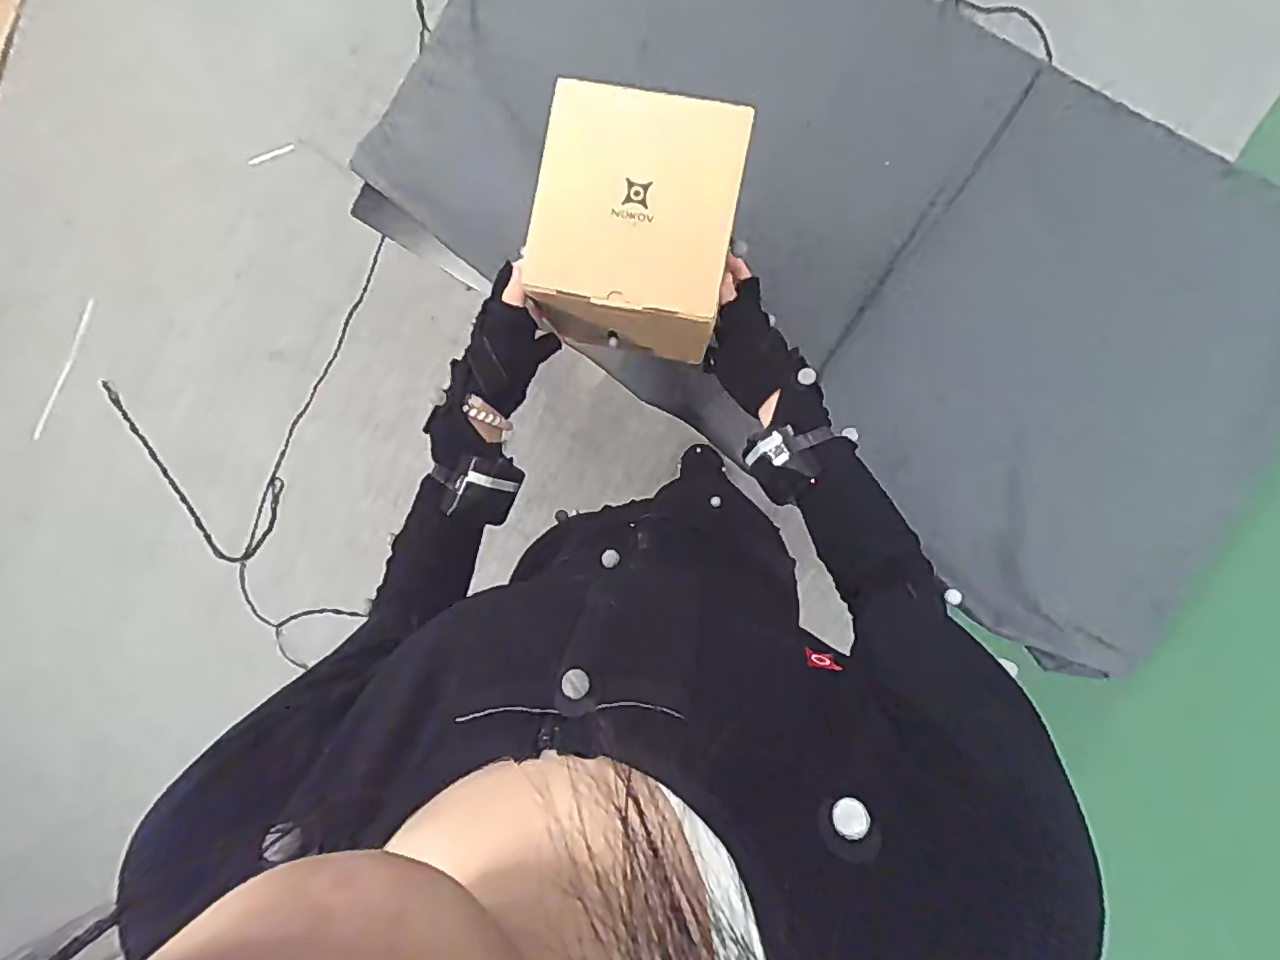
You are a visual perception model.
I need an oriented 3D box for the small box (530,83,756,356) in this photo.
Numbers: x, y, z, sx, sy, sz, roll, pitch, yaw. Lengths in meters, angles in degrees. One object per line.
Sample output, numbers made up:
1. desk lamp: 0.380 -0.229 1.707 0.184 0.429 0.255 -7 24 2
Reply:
1. small box: 0.004 -0.237 0.535 0.168 0.176 0.179 11 93 3
